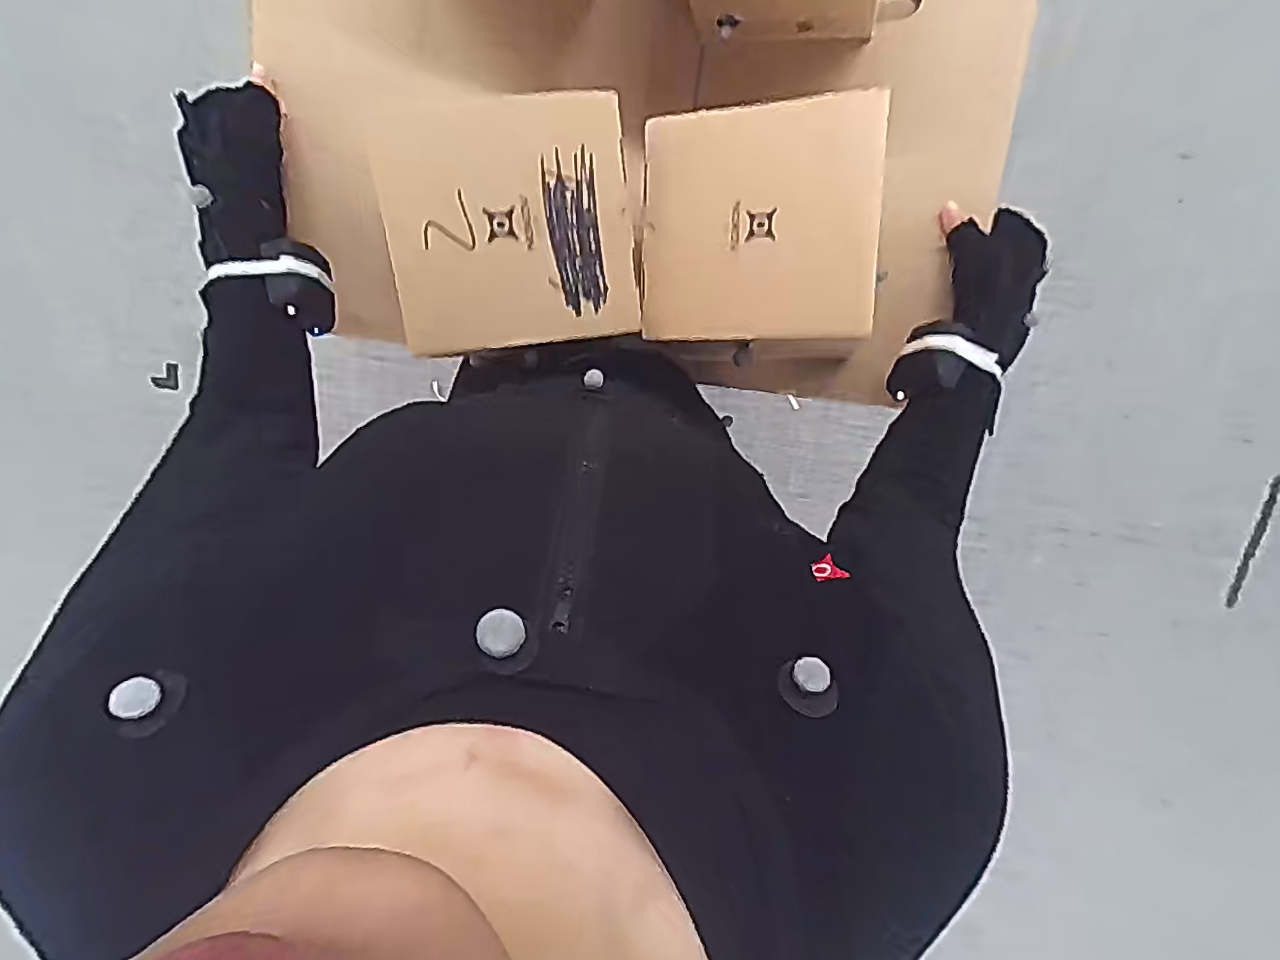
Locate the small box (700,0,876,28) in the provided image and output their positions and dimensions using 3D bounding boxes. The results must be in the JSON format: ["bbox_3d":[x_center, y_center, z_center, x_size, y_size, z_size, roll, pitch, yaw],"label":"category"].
[{"bbox_3d":[0.131,-0.515,0.443,0.168,0.176,0.179,12,97,16],"label":"small box"}]
